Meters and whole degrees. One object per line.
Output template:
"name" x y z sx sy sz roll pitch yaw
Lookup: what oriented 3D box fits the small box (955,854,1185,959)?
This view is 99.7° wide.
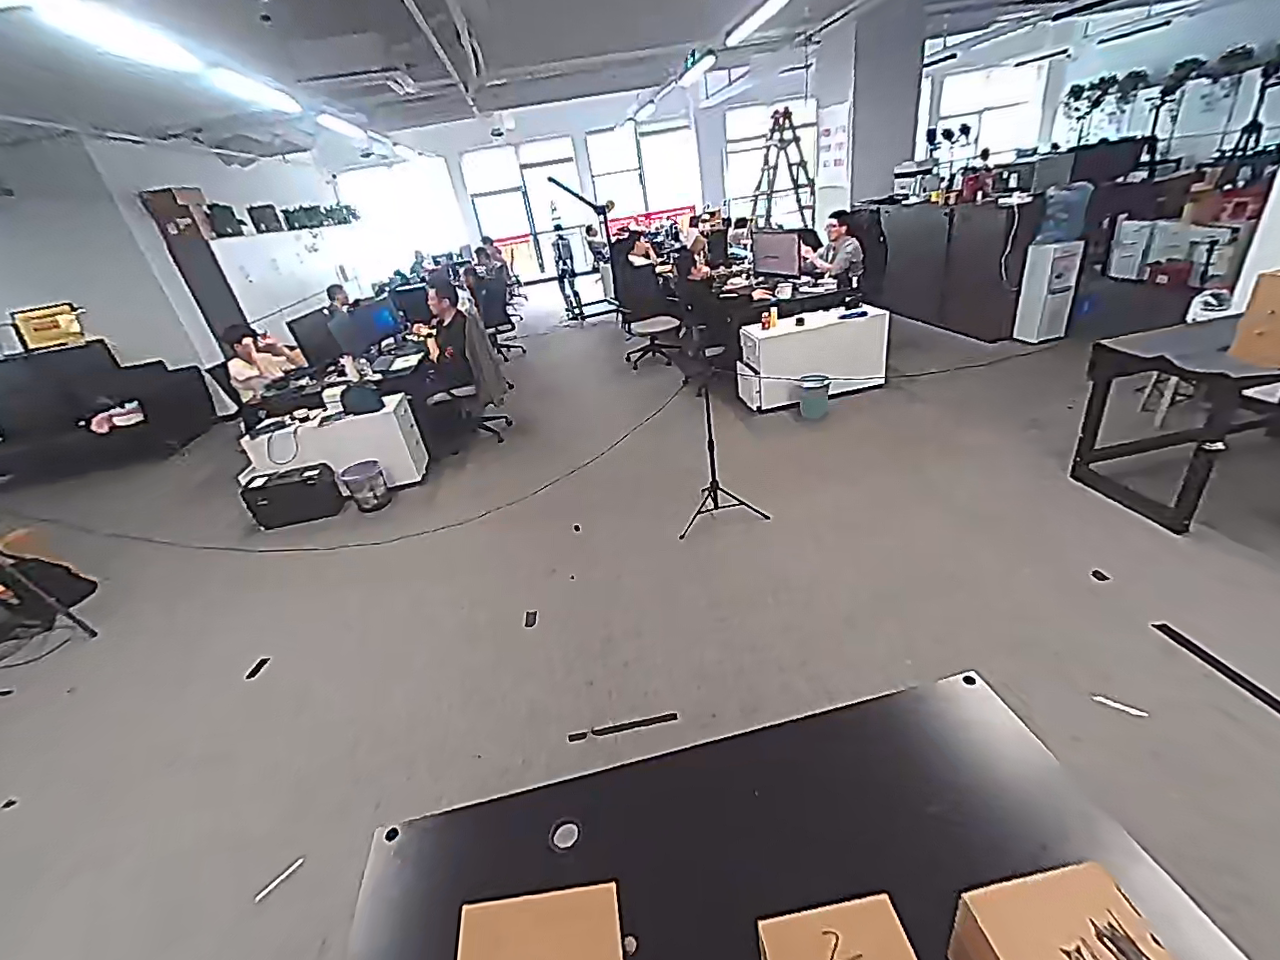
"small box" 0.496 0.578 0.621 0.179 0.176 0.168 -13 28 -2

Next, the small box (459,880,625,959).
"small box" -0.097 0.557 0.554 0.168 0.176 0.179 -3 33 -9
